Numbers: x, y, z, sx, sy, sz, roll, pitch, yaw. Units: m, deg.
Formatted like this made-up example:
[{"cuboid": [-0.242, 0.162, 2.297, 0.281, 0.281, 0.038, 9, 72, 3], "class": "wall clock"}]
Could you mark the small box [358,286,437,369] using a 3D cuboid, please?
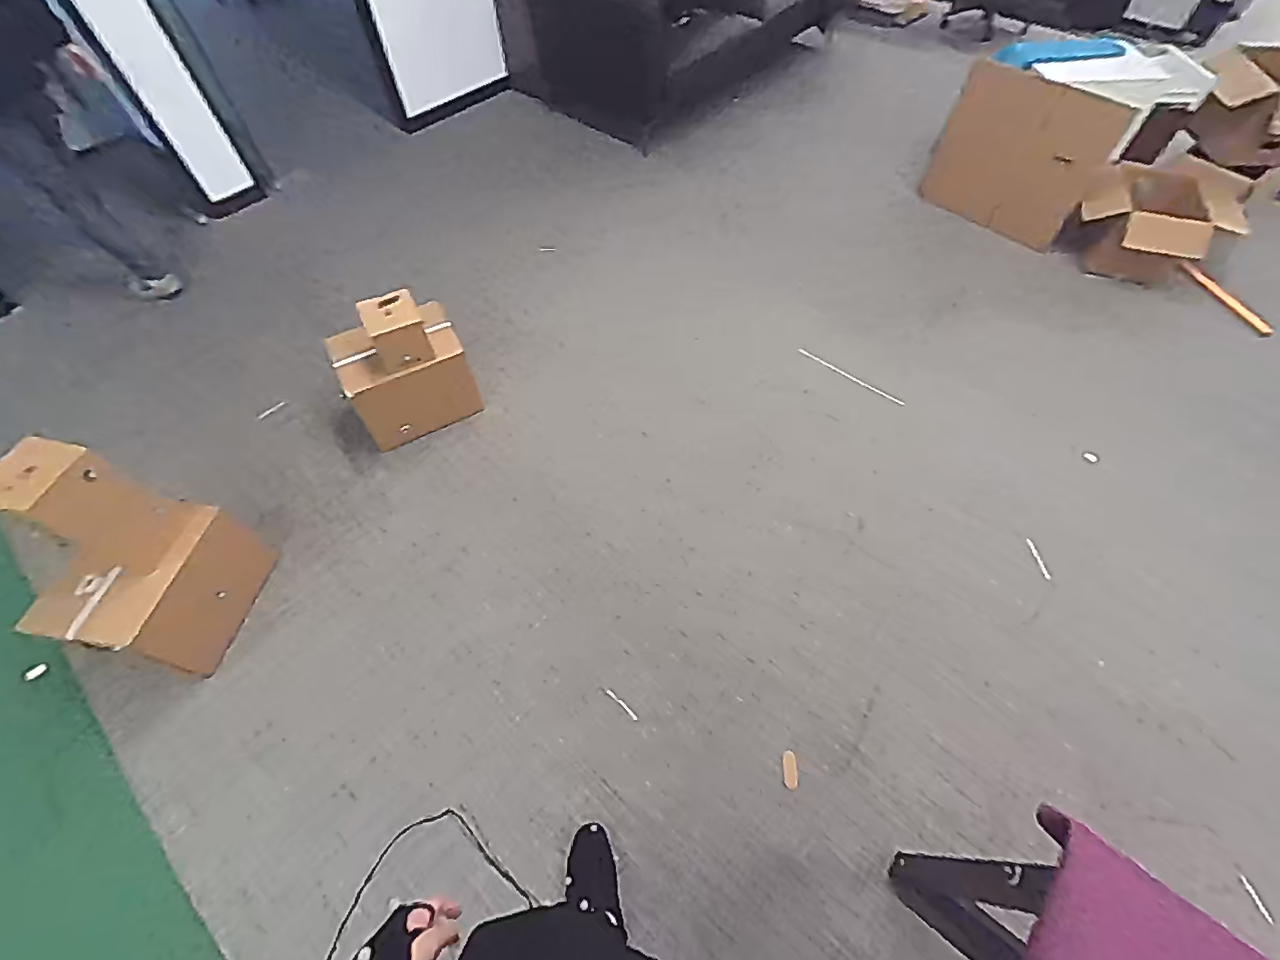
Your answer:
[{"cuboid": [-0.789, -0.495, 1.767, 0.168, 0.176, 0.179, -24, 62, -14], "class": "small box"}]

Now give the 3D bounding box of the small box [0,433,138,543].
[{"cuboid": [-1.328, 0.021, 1.247, 0.168, 0.176, 0.179, 11, 58, 8], "class": "small box"}]

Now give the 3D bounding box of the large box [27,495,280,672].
[{"cuboid": [-1.349, 0.298, 1.557, 0.320, 0.320, 0.408, 6, 59, 6], "class": "large box"}]
